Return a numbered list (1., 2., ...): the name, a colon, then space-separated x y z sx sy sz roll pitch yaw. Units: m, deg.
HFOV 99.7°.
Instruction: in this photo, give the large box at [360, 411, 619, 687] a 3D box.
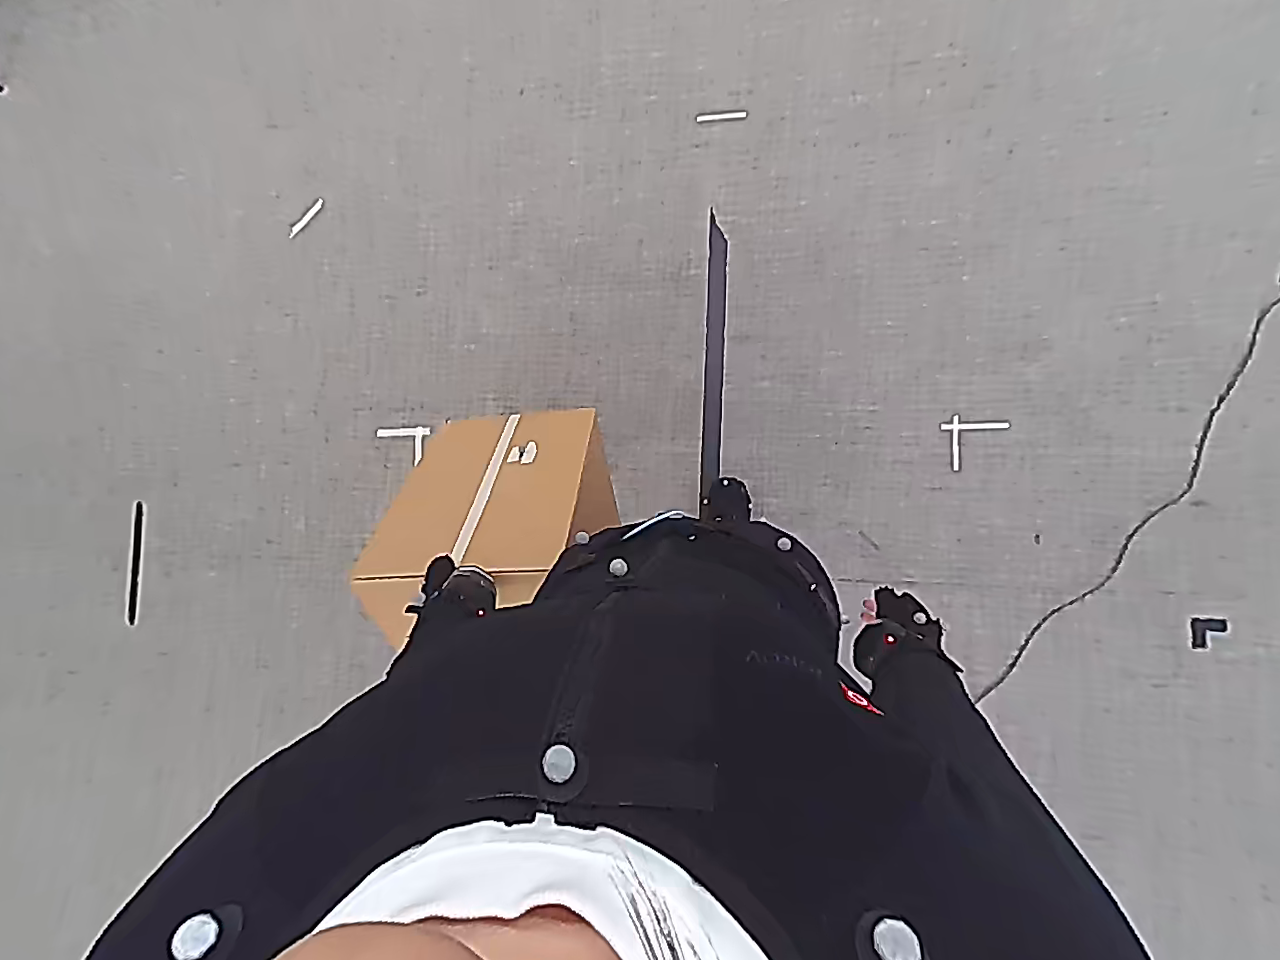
1. large box: -0.227 0.120 1.004 0.320 0.408 0.320 -4 129 8
